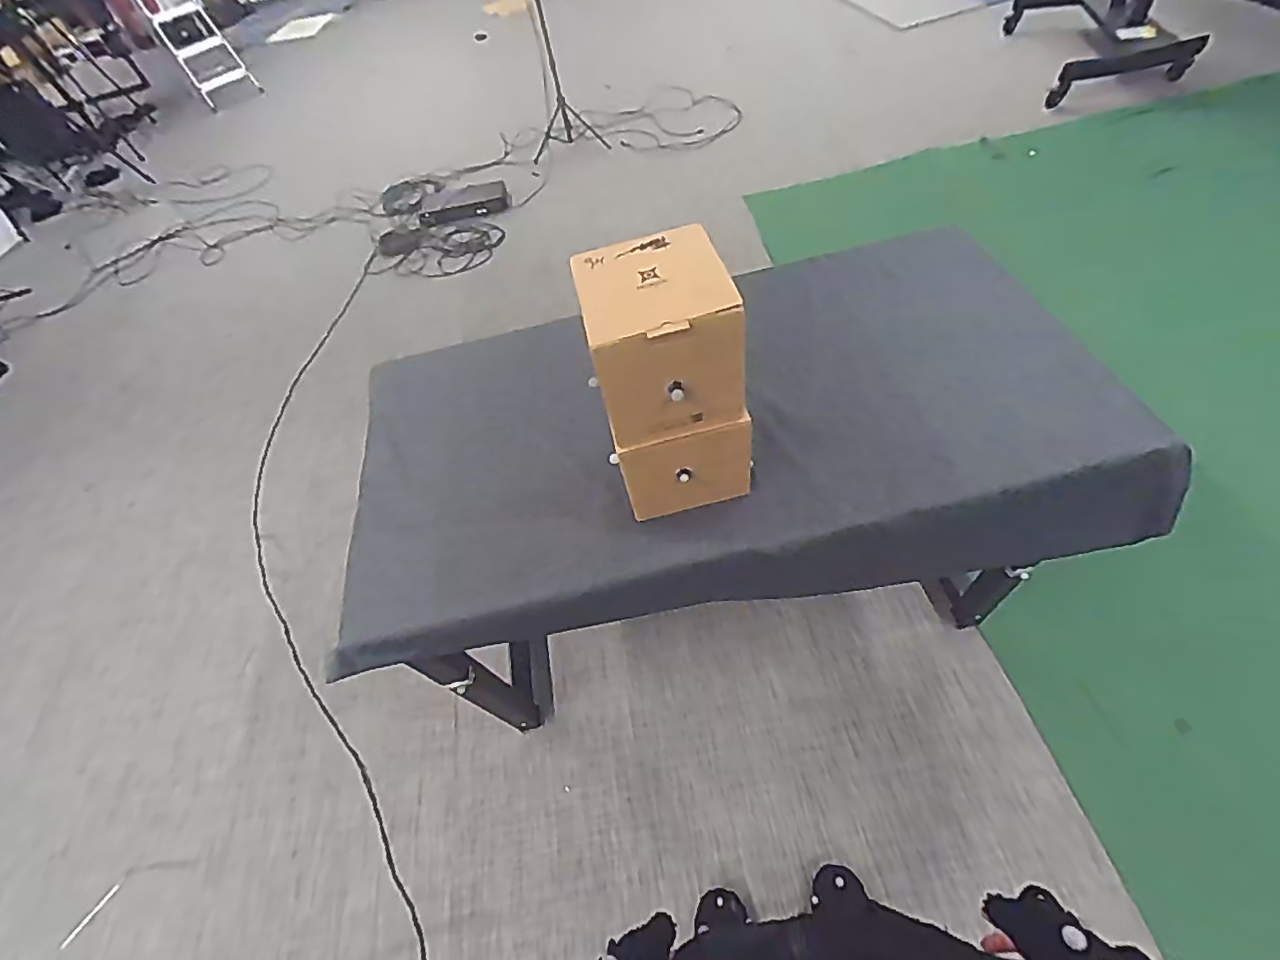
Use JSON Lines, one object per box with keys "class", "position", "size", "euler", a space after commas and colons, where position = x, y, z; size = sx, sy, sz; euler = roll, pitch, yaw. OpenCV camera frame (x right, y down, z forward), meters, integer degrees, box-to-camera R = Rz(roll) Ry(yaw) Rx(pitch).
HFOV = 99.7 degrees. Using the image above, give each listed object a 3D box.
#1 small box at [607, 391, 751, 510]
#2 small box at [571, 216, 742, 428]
{"class": "small box", "position": [0.052, -0.080, 0.787], "size": [0.179, 0.176, 0.168], "euler": [-14, 54, 1]}
{"class": "small box", "position": [0.024, -0.182, 0.662], "size": [0.168, 0.176, 0.179], "euler": [-14, 55, 0]}
